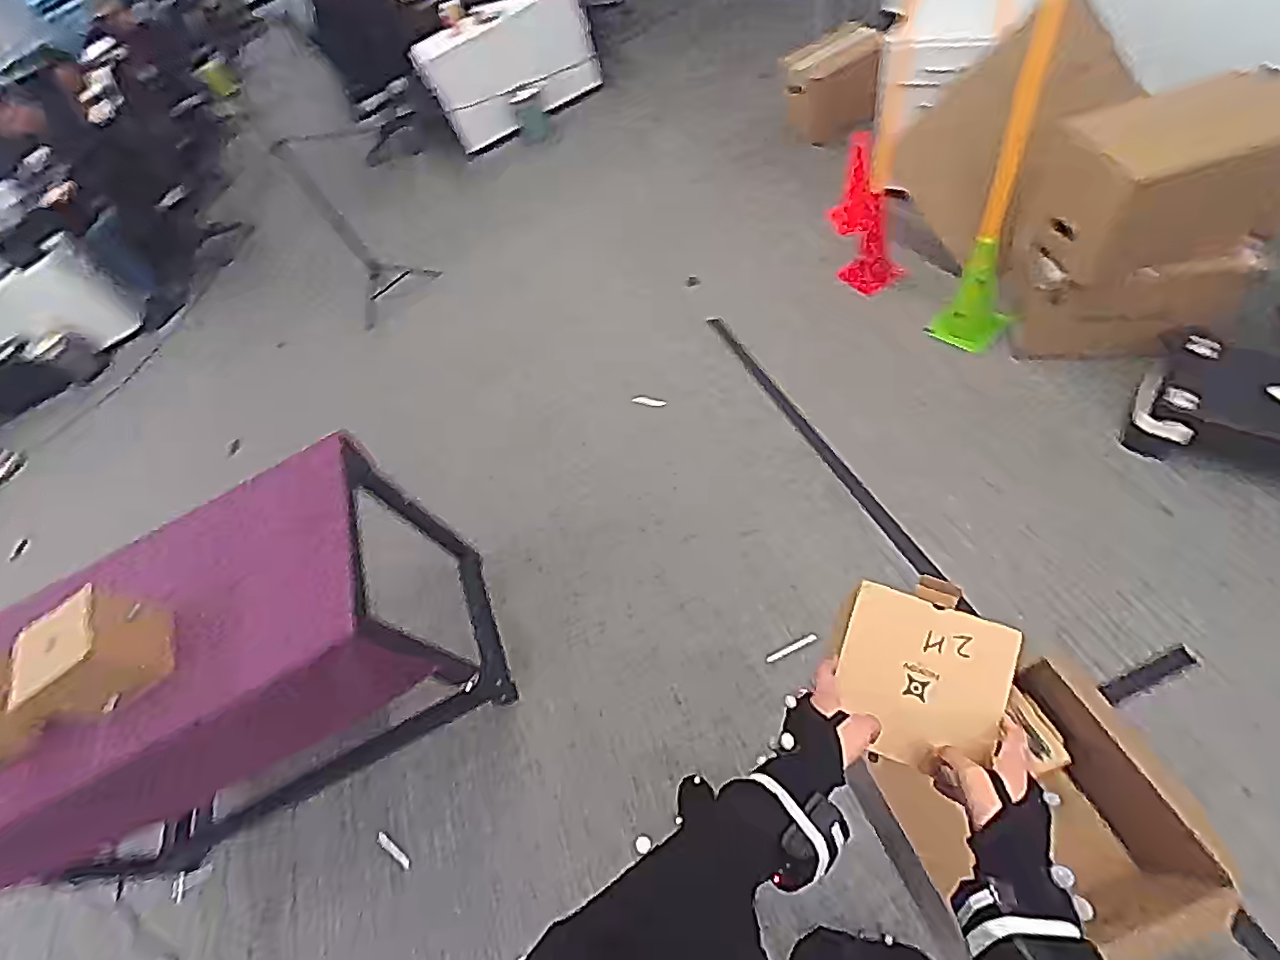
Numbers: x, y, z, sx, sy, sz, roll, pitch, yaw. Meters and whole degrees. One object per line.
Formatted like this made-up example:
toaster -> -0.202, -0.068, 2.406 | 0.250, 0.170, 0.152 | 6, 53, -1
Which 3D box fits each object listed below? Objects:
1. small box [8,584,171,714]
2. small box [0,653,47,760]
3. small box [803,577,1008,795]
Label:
small box -> -1.116, 0.352, 1.114 | 0.168, 0.176, 0.179 | -37, 55, -5
small box -> -1.394, 0.481, 1.126 | 0.168, 0.176, 0.179 | -31, 55, -2
small box -> 0.301, 0.236, 0.649 | 0.168, 0.176, 0.179 | 17, 76, 17
